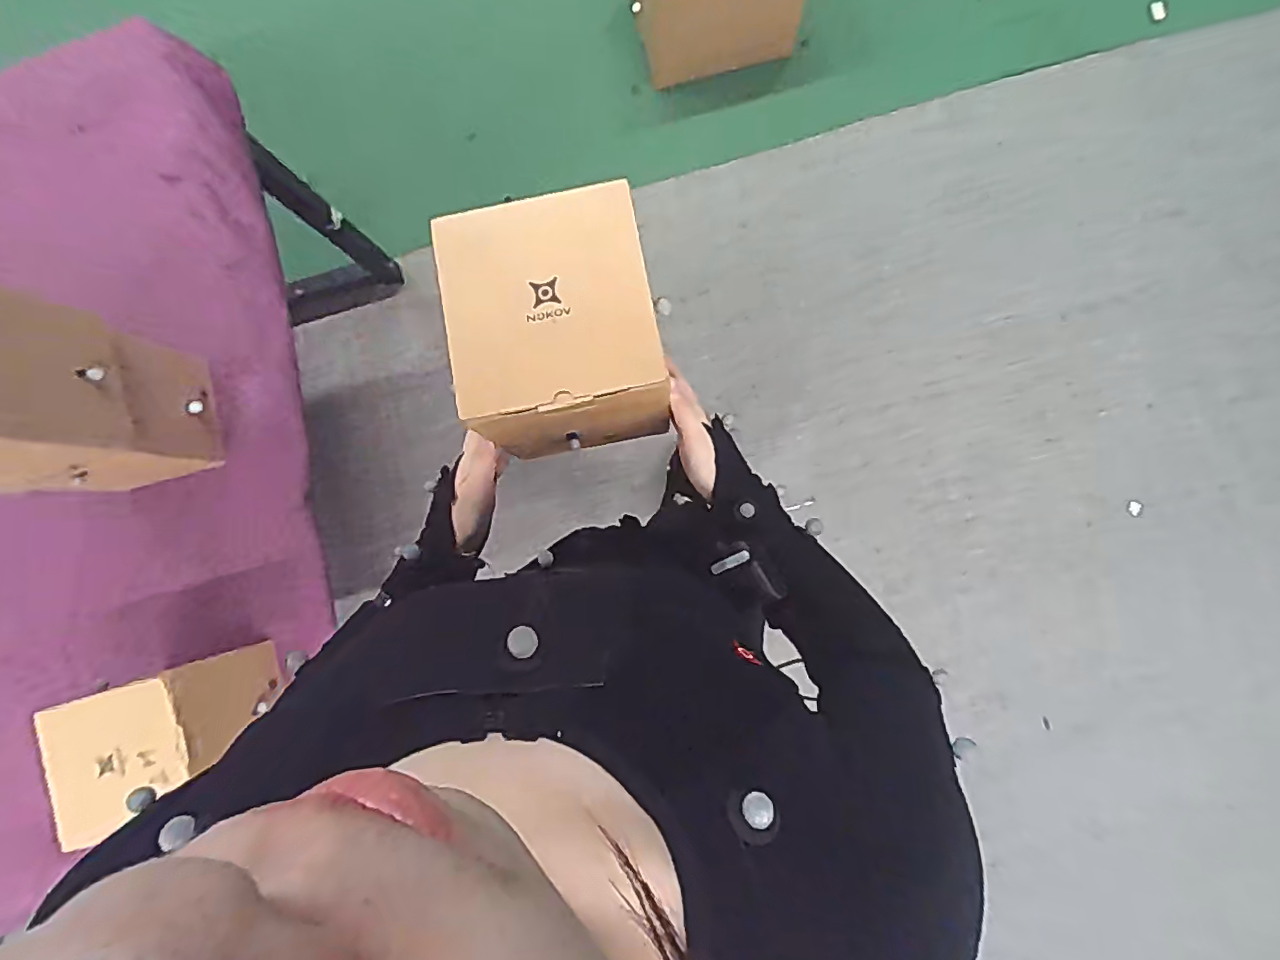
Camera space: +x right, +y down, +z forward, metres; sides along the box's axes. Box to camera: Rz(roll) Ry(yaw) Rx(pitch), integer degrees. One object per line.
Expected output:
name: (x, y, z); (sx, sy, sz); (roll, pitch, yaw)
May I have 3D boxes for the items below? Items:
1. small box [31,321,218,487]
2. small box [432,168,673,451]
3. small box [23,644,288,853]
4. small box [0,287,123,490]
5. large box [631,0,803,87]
small box: (-0.724, -0.088, 0.723); (0.179, 0.176, 0.168); (-14, 87, 2)
small box: (-0.067, -0.137, 0.494); (0.168, 0.176, 0.179); (-11, 83, 1)
small box: (-0.604, 0.329, 0.694); (0.179, 0.176, 0.168); (-16, 87, 3)
small box: (-0.703, -0.096, 0.559); (0.168, 0.176, 0.179); (-17, 87, 2)
large box: (0.191, -1.317, 1.397); (0.408, 0.320, 0.320); (-13, 87, 1)
